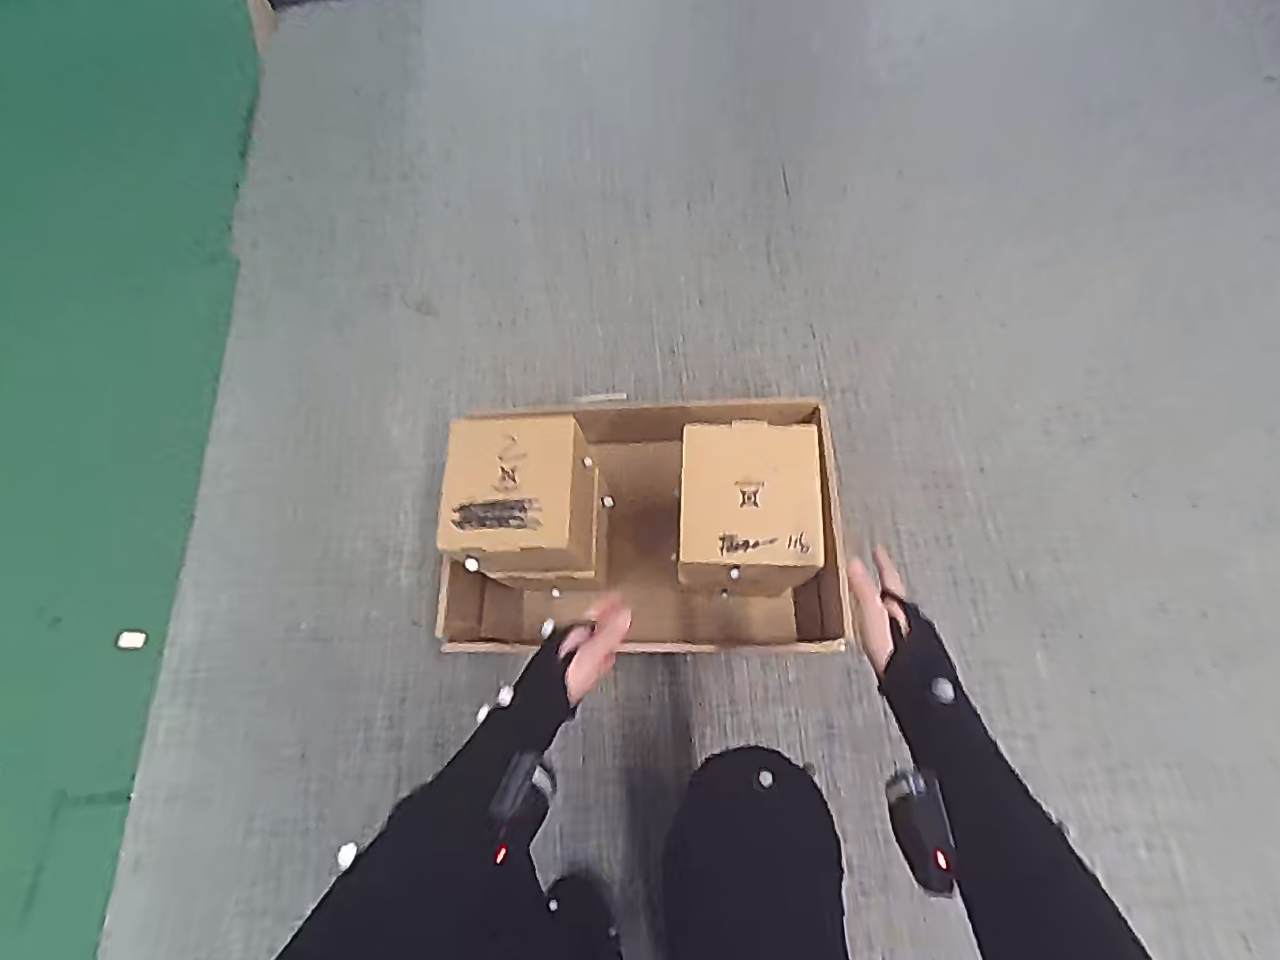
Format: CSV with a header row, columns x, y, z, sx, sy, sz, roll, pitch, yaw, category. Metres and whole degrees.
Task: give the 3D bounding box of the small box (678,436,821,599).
x,y,z,sx,sy,sz,roll,pitch,yaw,category
0.136,0.055,0.721,0.168,0.176,0.179,1,70,7,small box
